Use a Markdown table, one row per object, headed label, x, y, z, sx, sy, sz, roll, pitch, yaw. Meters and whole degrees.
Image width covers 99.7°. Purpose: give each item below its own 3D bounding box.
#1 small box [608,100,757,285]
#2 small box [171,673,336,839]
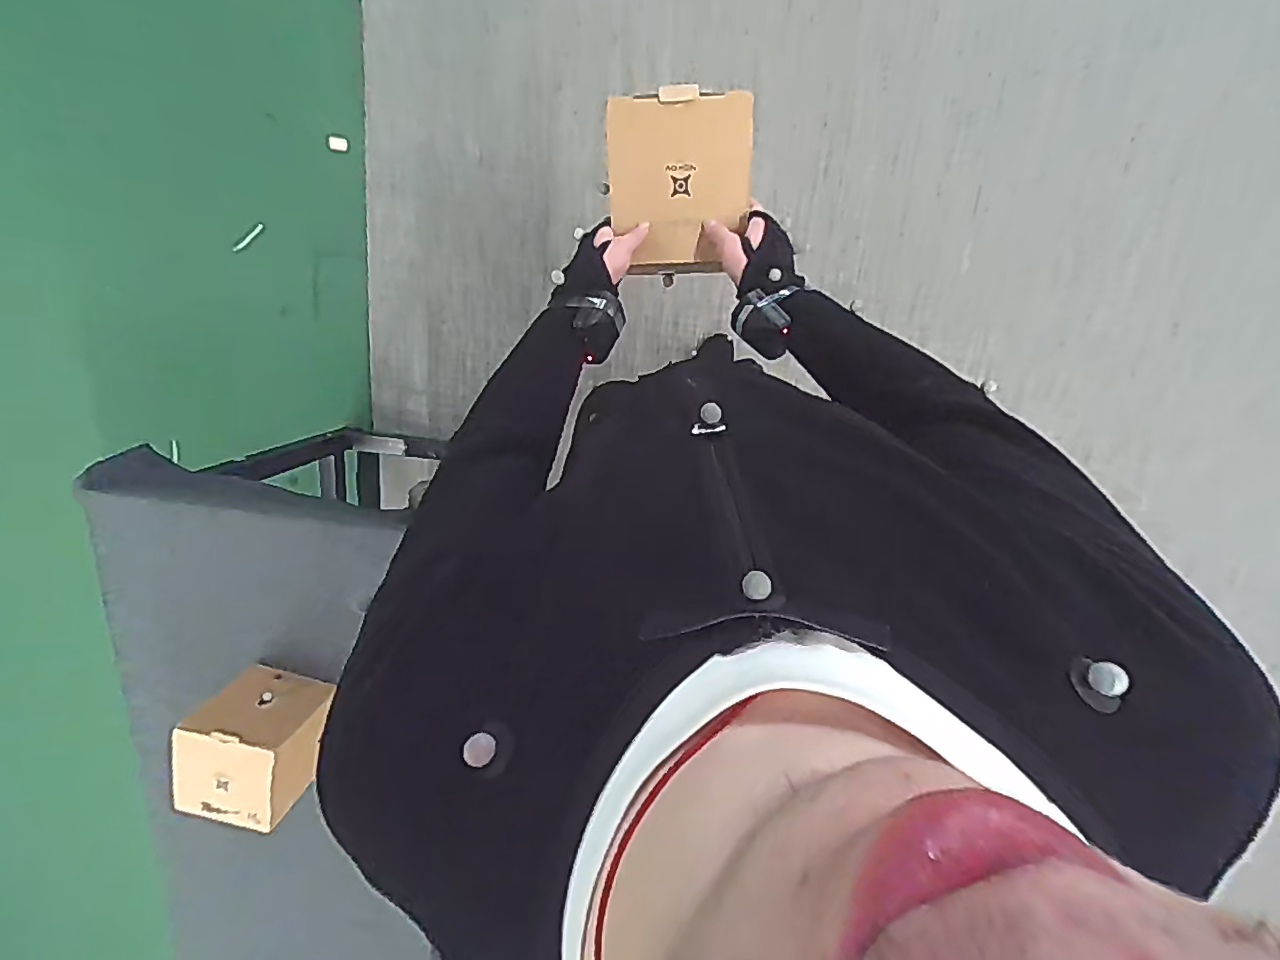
| label | x | y | z | sx | sy | sz | roll | pitch | yaw |
| --- | --- | --- | --- | --- | --- | --- | --- | --- | --- |
| small box | 0.047 | -0.348 | 0.686 | 0.168 | 0.176 | 0.179 | 1 | 106 | 2 |
| small box | -0.662 | 0.469 | 0.942 | 0.168 | 0.176 | 0.179 | 15 | 105 | 0 |
